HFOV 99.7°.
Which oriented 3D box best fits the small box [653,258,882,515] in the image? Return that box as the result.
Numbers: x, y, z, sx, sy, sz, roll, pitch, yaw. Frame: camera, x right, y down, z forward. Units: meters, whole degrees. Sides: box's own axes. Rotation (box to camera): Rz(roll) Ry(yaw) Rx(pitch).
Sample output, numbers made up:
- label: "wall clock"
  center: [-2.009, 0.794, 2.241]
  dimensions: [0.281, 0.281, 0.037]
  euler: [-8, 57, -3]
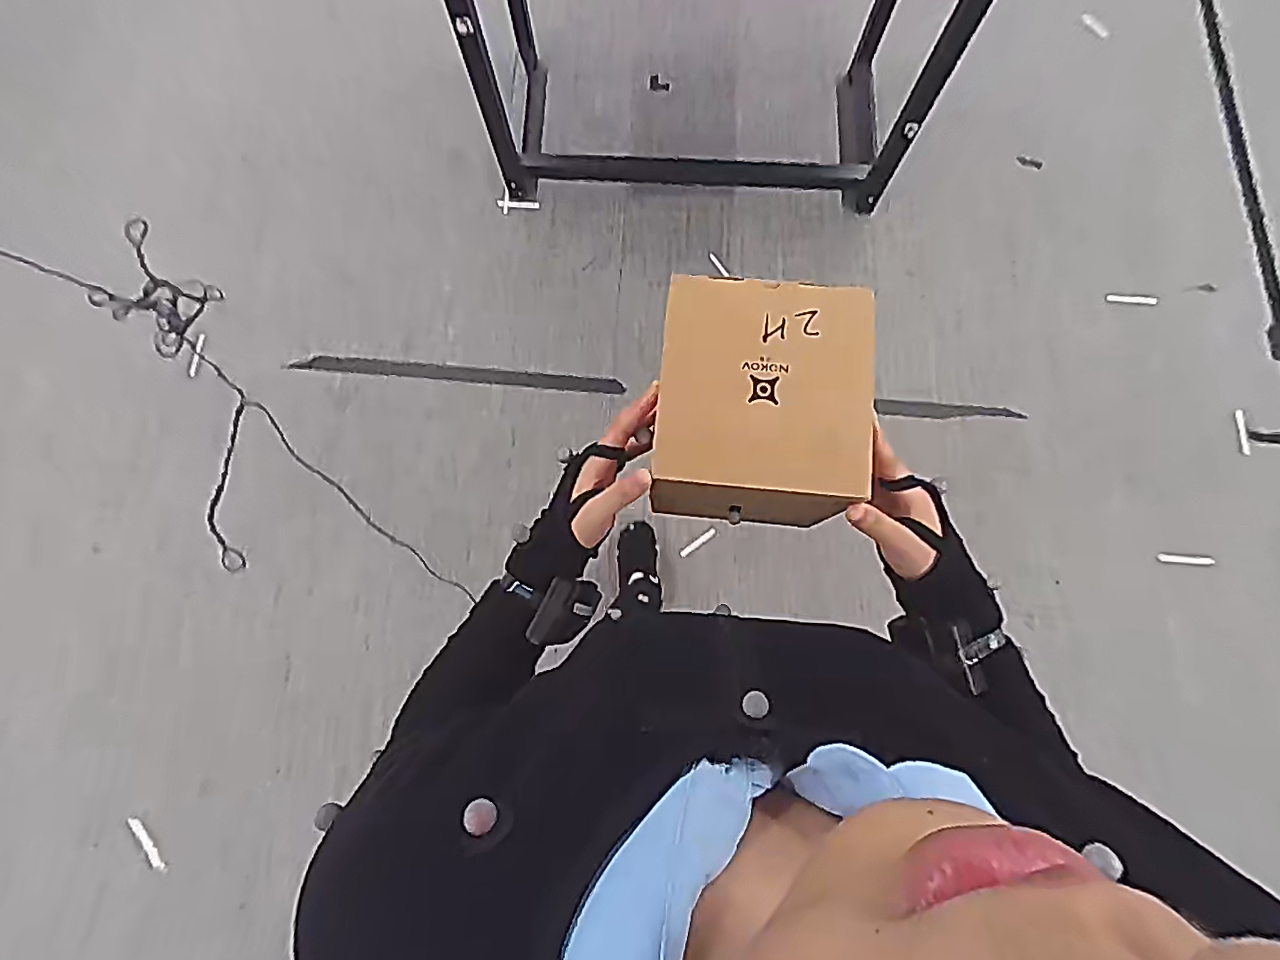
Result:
- label: "small box"
  center: [0.103, -0.070, 0.490]
  dimensions: [0.168, 0.176, 0.179]
  euler: [5, 77, 3]
